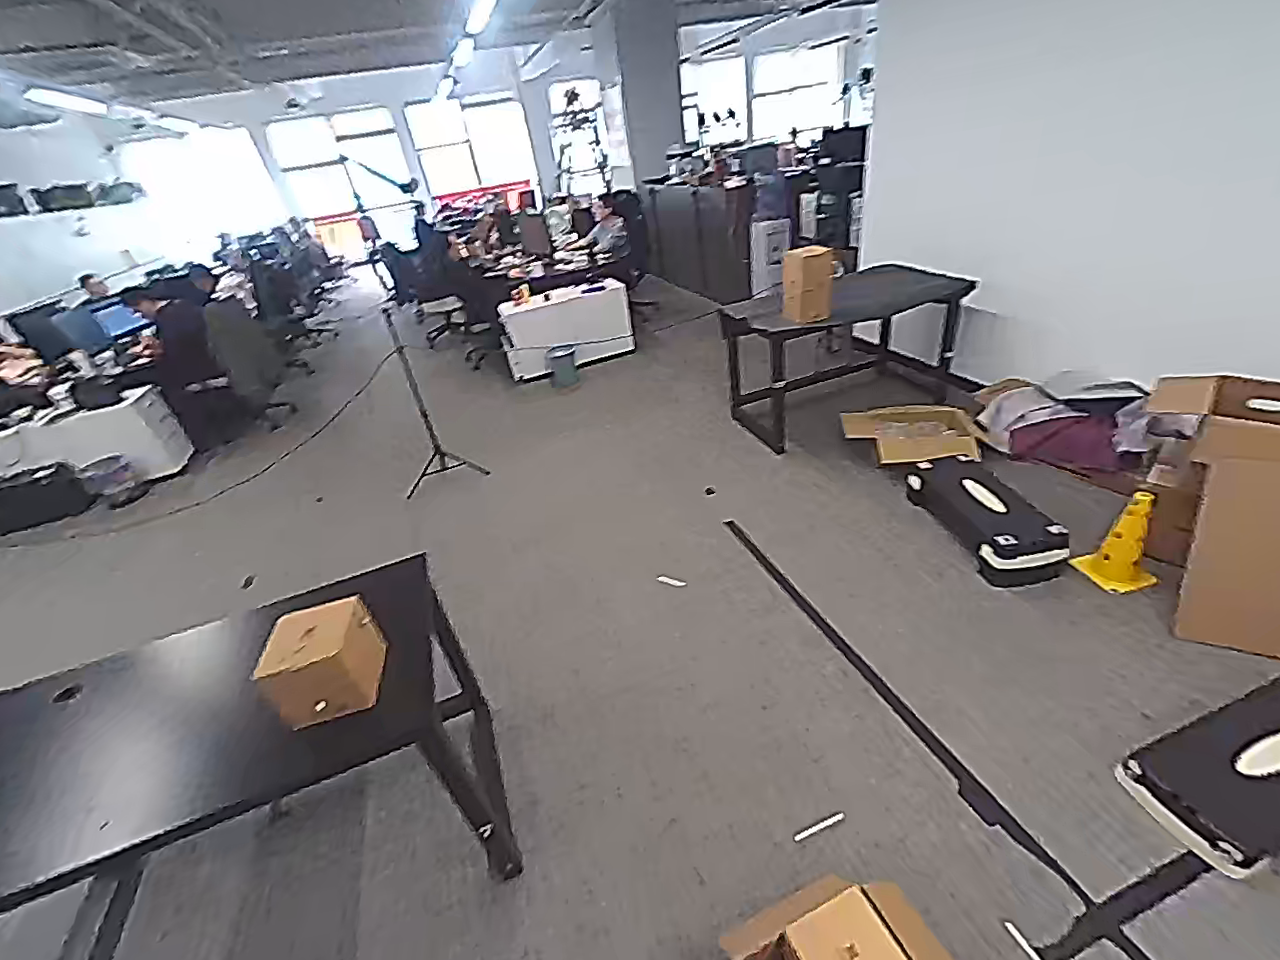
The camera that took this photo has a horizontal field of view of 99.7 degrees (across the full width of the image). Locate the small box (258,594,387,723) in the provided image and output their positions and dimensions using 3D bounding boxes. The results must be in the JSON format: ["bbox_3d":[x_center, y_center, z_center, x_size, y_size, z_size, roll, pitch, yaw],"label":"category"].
[{"bbox_3d":[-0.664,0.380,1.159,0.168,0.176,0.179,-15,33,-6],"label":"small box"}]
